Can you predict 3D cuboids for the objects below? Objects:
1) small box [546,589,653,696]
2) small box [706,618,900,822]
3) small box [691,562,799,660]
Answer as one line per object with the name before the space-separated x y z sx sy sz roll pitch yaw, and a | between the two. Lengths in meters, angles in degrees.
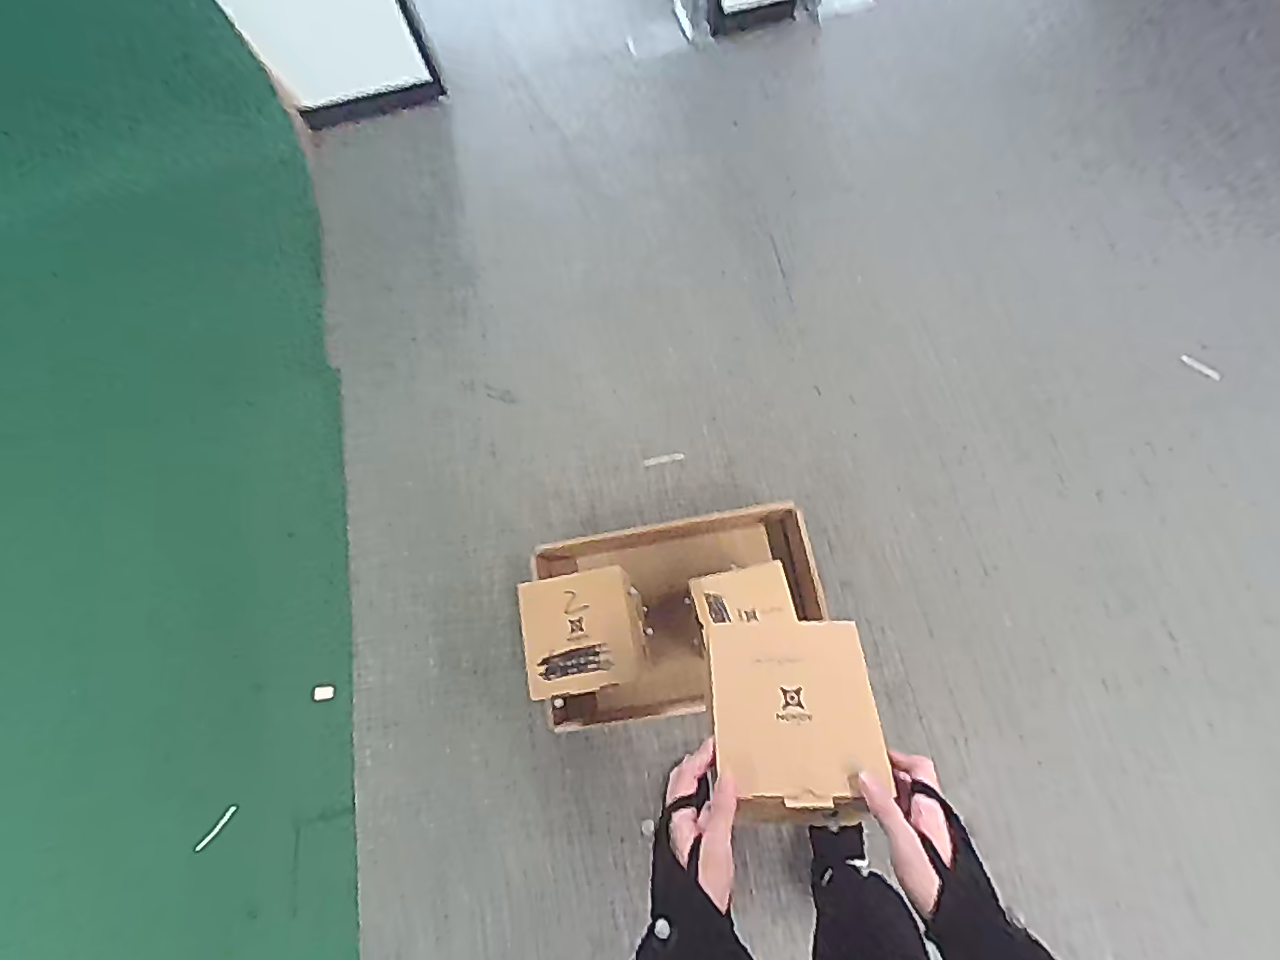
small box | -0.073 0.313 1.048 0.179 0.176 0.168 -10 72 0
small box | 0.161 0.270 0.601 0.168 0.176 0.179 -1 51 3
small box | 0.199 0.264 1.040 0.179 0.176 0.168 -12 74 1
